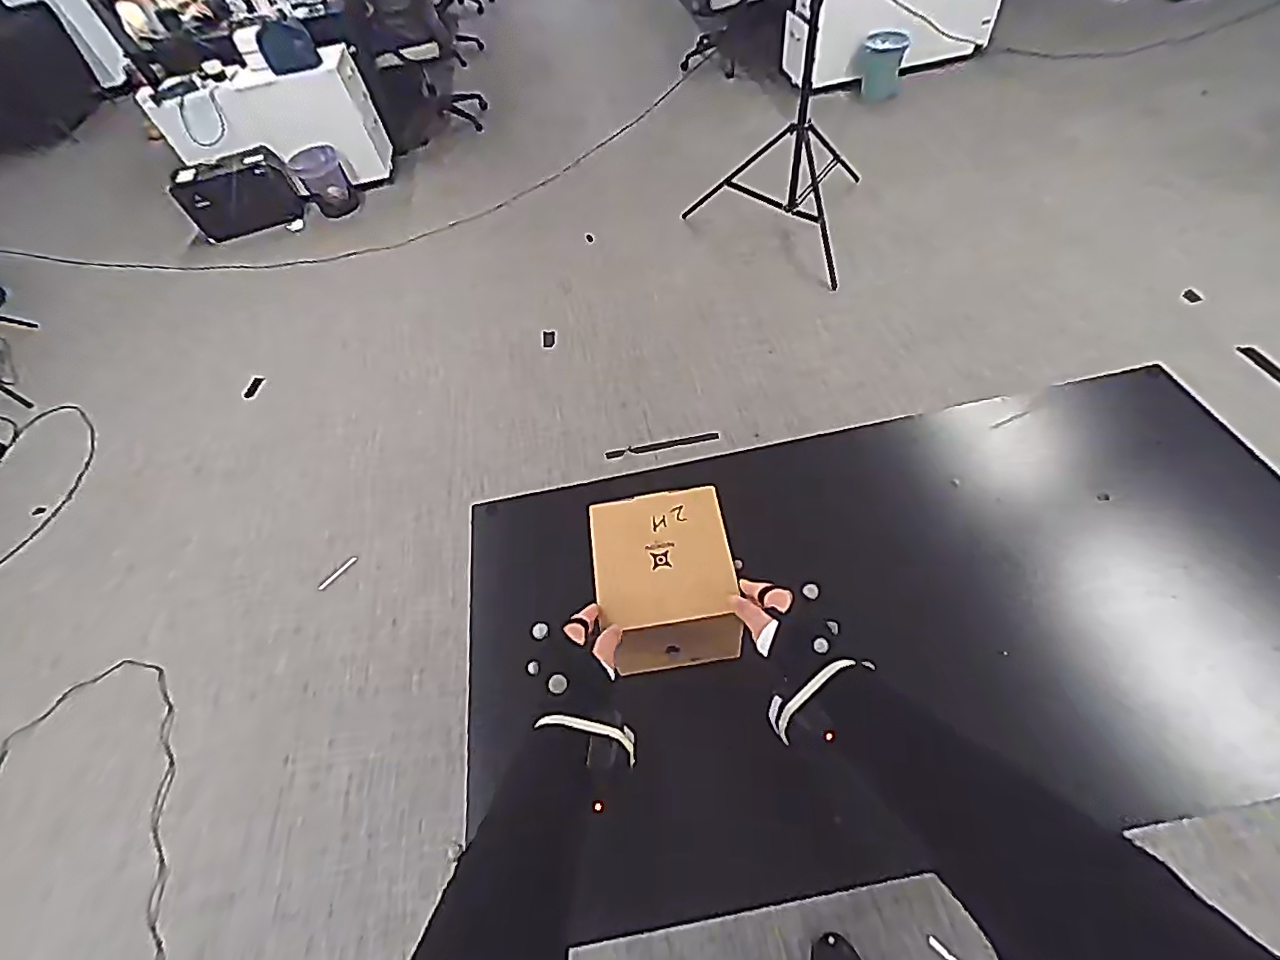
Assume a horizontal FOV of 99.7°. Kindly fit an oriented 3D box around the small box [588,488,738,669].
[{"bbox_3d":[0.032,0.138,0.718,0.168,0.176,0.179,-10,53,1],"label":"small box"}]
